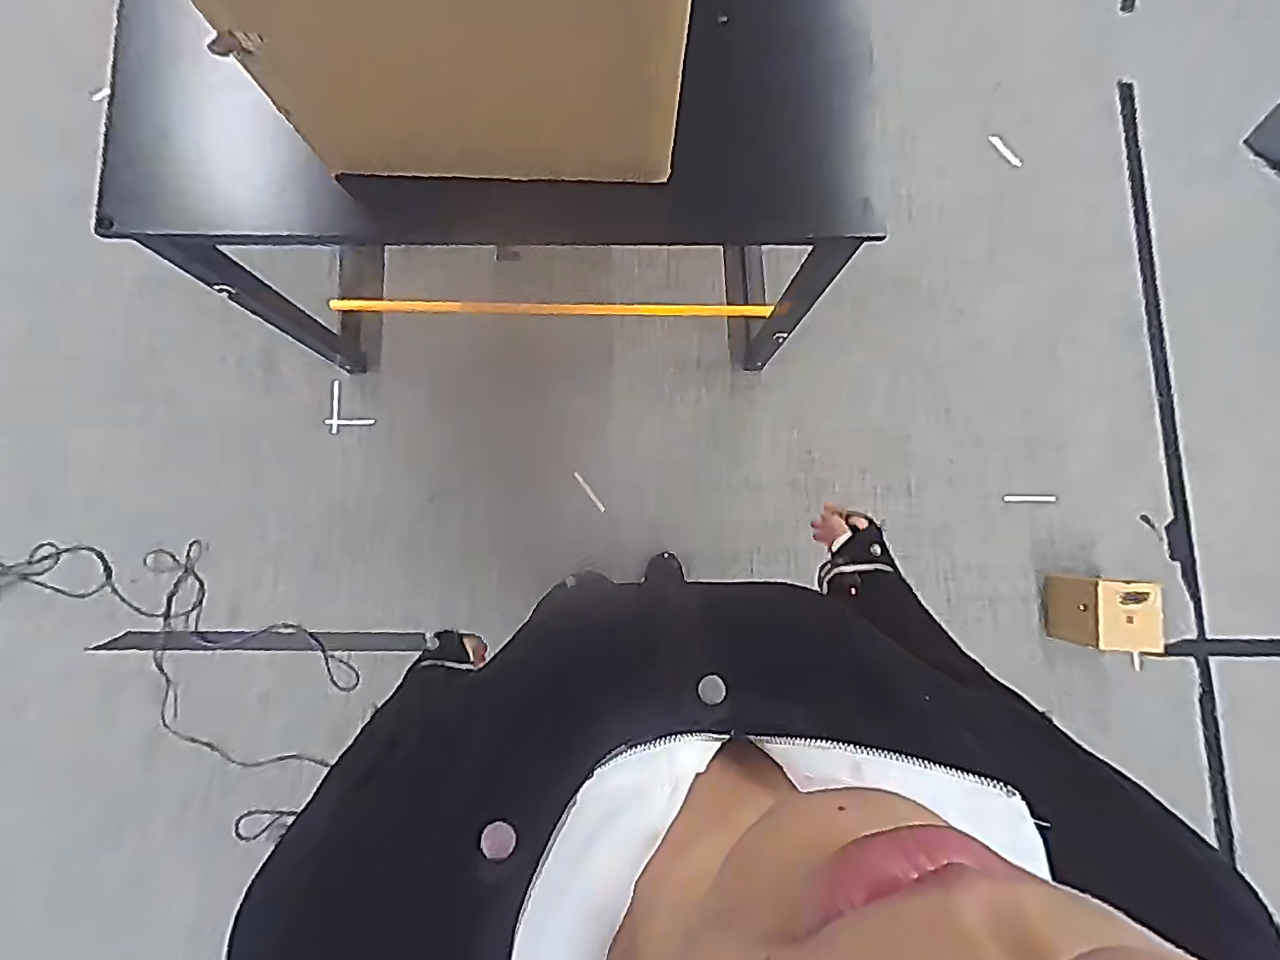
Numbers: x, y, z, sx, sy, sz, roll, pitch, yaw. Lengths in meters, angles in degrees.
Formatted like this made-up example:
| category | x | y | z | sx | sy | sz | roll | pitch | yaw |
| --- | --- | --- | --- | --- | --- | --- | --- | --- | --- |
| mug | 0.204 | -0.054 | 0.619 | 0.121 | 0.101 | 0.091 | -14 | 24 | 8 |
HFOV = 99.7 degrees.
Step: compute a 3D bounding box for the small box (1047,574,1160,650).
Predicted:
| category | x | y | z | sx | sy | sz | roll | pitch | yaw |
| --- | --- | --- | --- | --- | --- | --- | --- | --- | --- |
| small box | 1.235 | 0.348 | 1.451 | 0.168 | 0.176 | 0.179 | 3 | 84 | -1 |
